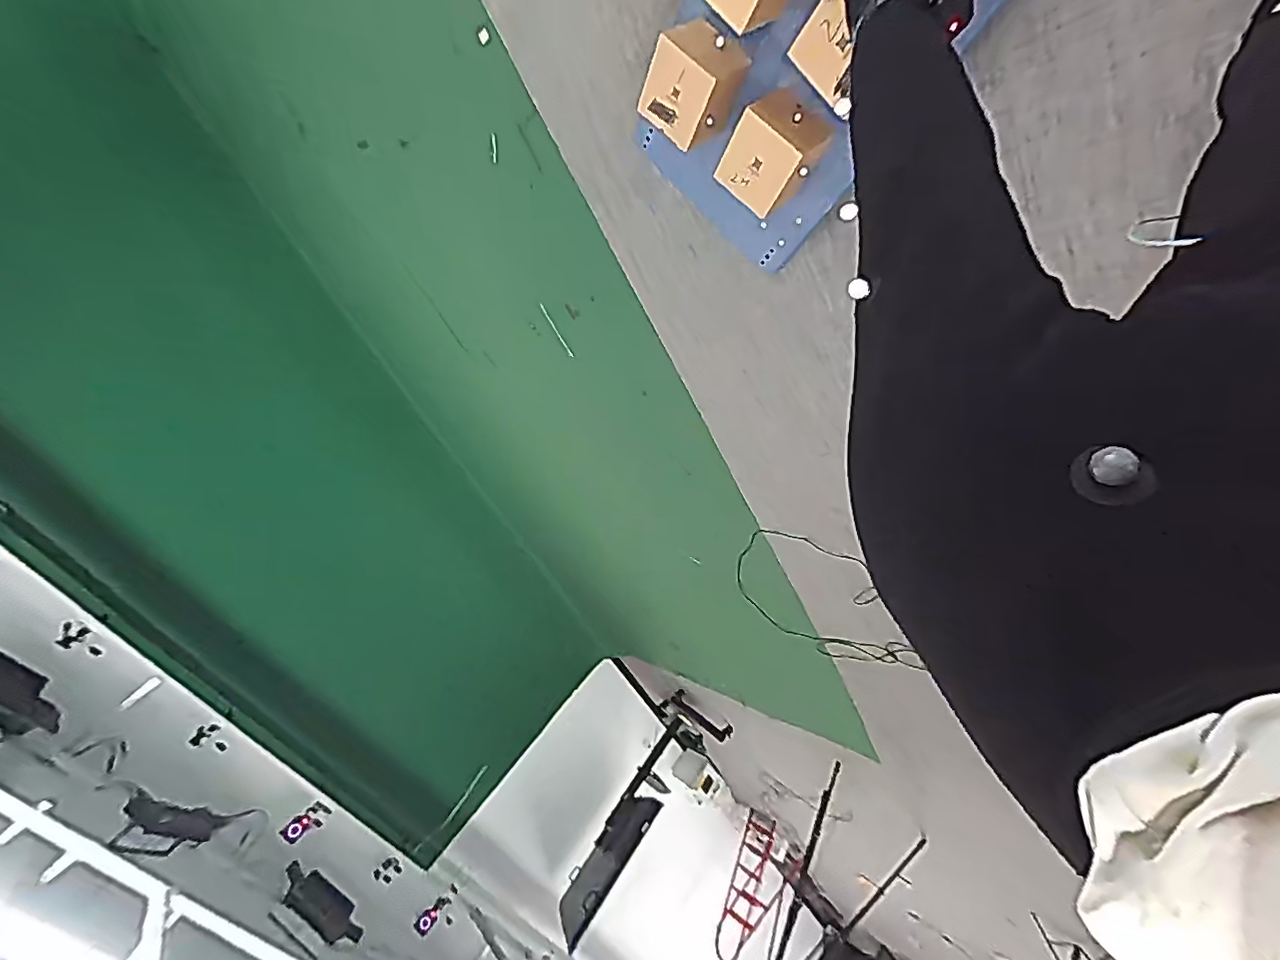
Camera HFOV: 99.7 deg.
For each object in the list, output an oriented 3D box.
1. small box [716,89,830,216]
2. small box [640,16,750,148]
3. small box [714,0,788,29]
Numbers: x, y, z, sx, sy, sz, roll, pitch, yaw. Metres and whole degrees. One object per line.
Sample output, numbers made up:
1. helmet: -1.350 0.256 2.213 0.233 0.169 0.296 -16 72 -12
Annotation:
1. small box: 0.317 -0.771 1.268 0.168 0.176 0.179 44 150 3
2. small box: 0.132 -0.942 1.279 0.168 0.176 0.179 42 150 2
3. small box: 0.230 -1.035 1.045 0.168 0.176 0.179 45 149 -2
